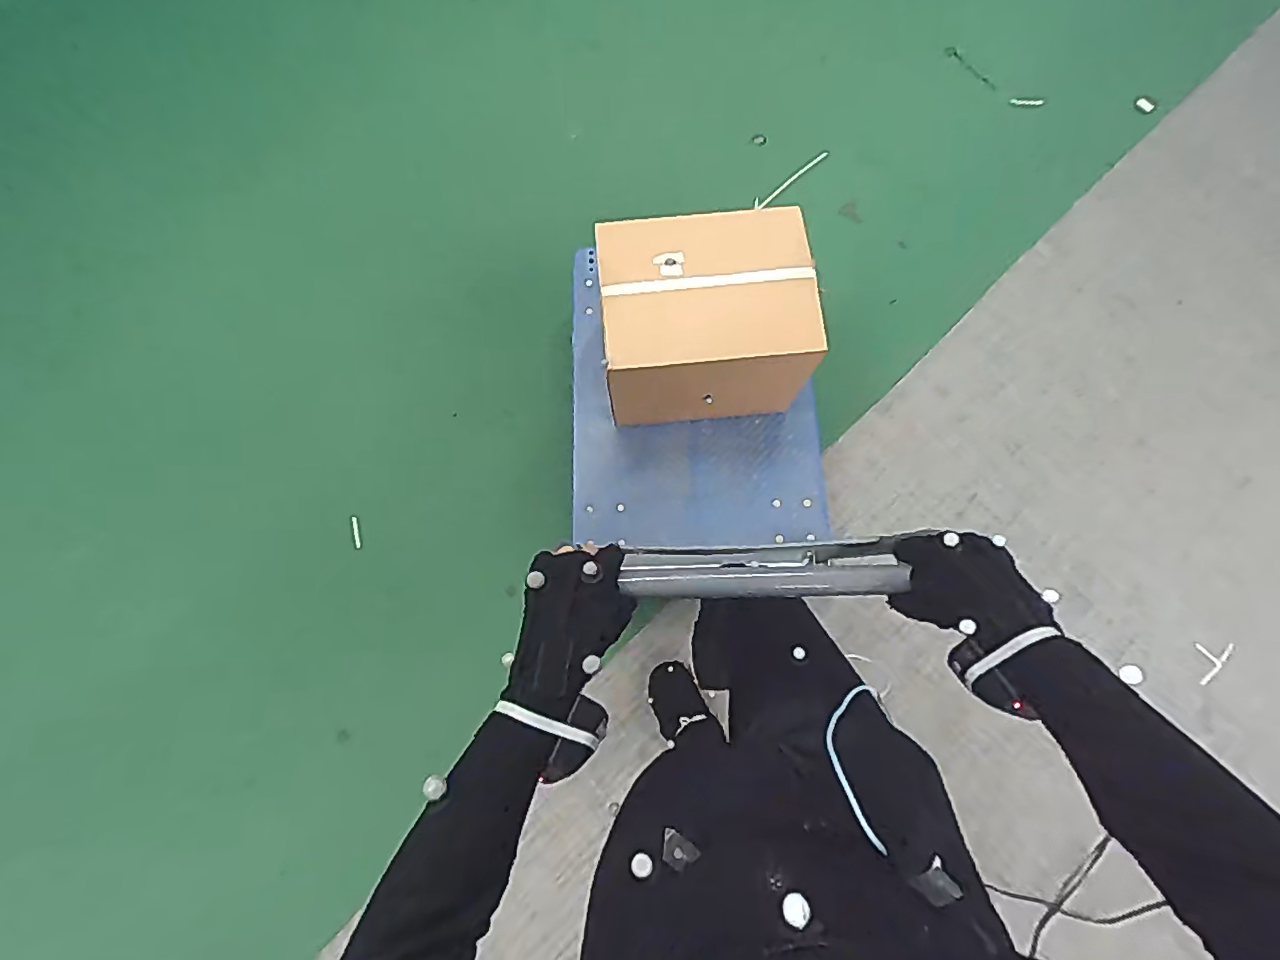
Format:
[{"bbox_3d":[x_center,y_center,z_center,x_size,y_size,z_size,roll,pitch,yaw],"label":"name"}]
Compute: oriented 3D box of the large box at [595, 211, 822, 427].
[{"bbox_3d":[0.130,-0.325,1.173,0.408,0.320,0.320,-6,76,1],"label":"large box"}]
